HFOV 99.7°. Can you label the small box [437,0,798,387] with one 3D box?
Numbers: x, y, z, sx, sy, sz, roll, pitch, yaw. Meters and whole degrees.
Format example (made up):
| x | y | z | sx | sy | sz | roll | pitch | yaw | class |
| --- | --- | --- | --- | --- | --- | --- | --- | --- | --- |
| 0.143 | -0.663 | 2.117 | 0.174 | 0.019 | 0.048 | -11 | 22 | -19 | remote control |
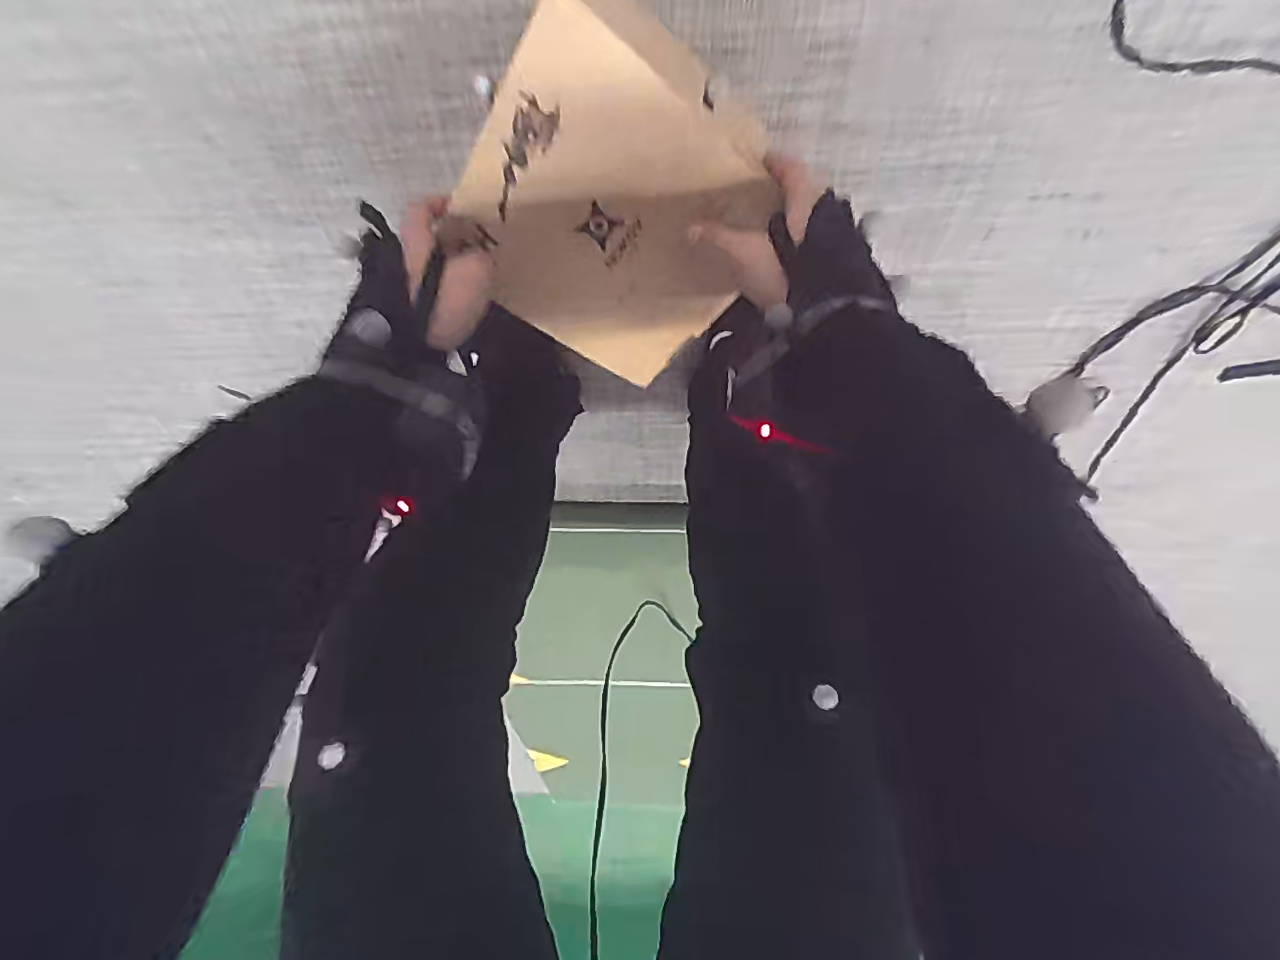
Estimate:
| x | y | z | sx | sy | sz | roll | pitch | yaw | class |
| --- | --- | --- | --- | --- | --- | --- | --- | --- | --- |
| -0.016 | -0.209 | 0.397 | 0.179 | 0.176 | 0.168 | 27 | 130 | -25 | small box |
